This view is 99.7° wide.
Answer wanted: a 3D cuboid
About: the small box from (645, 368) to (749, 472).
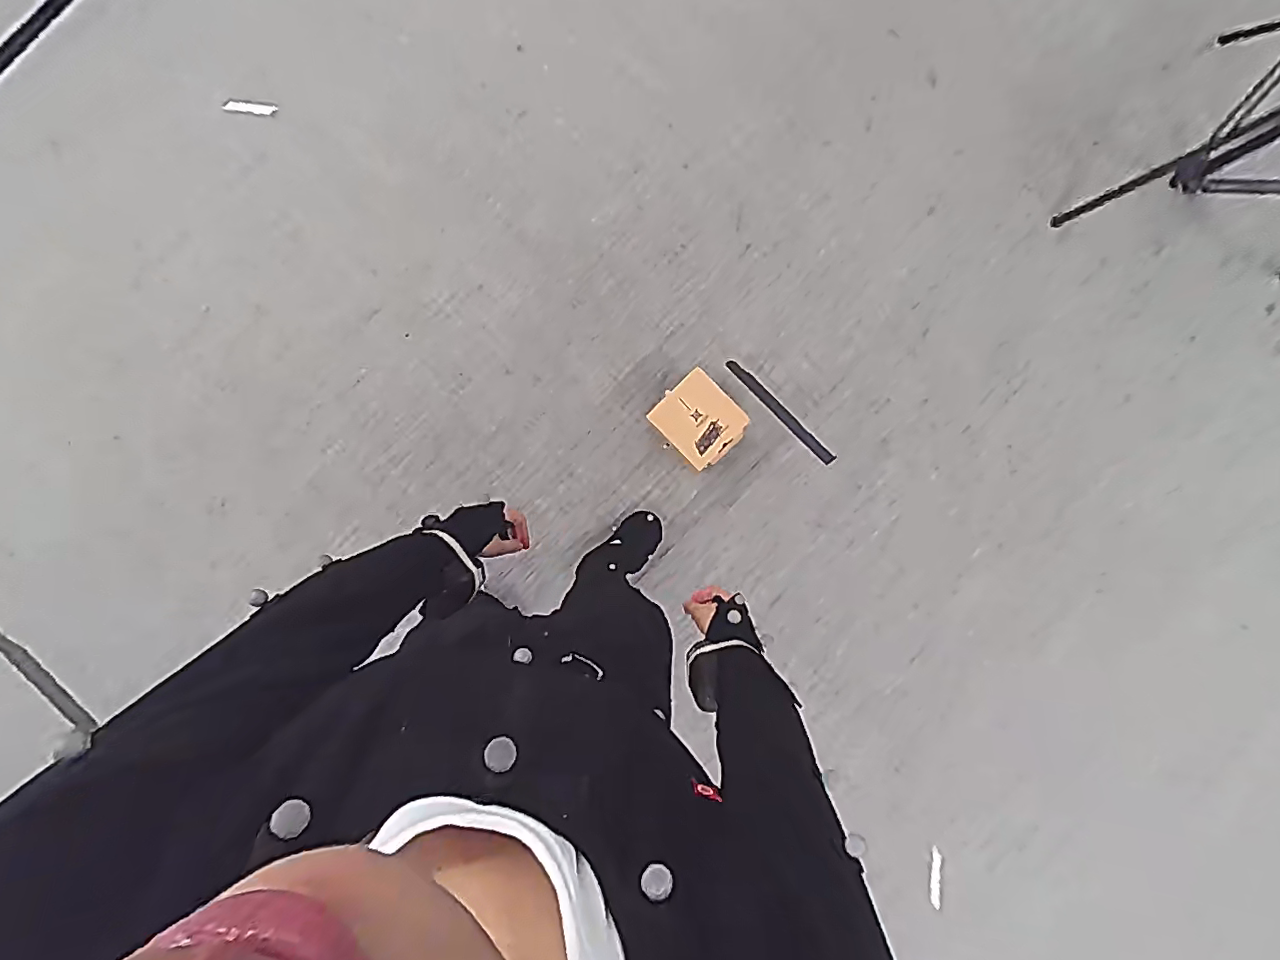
[{"bbox_3d":[0.130,-0.137,1.290,0.168,0.176,0.179,-44,89,1],"label":"small box"}]
